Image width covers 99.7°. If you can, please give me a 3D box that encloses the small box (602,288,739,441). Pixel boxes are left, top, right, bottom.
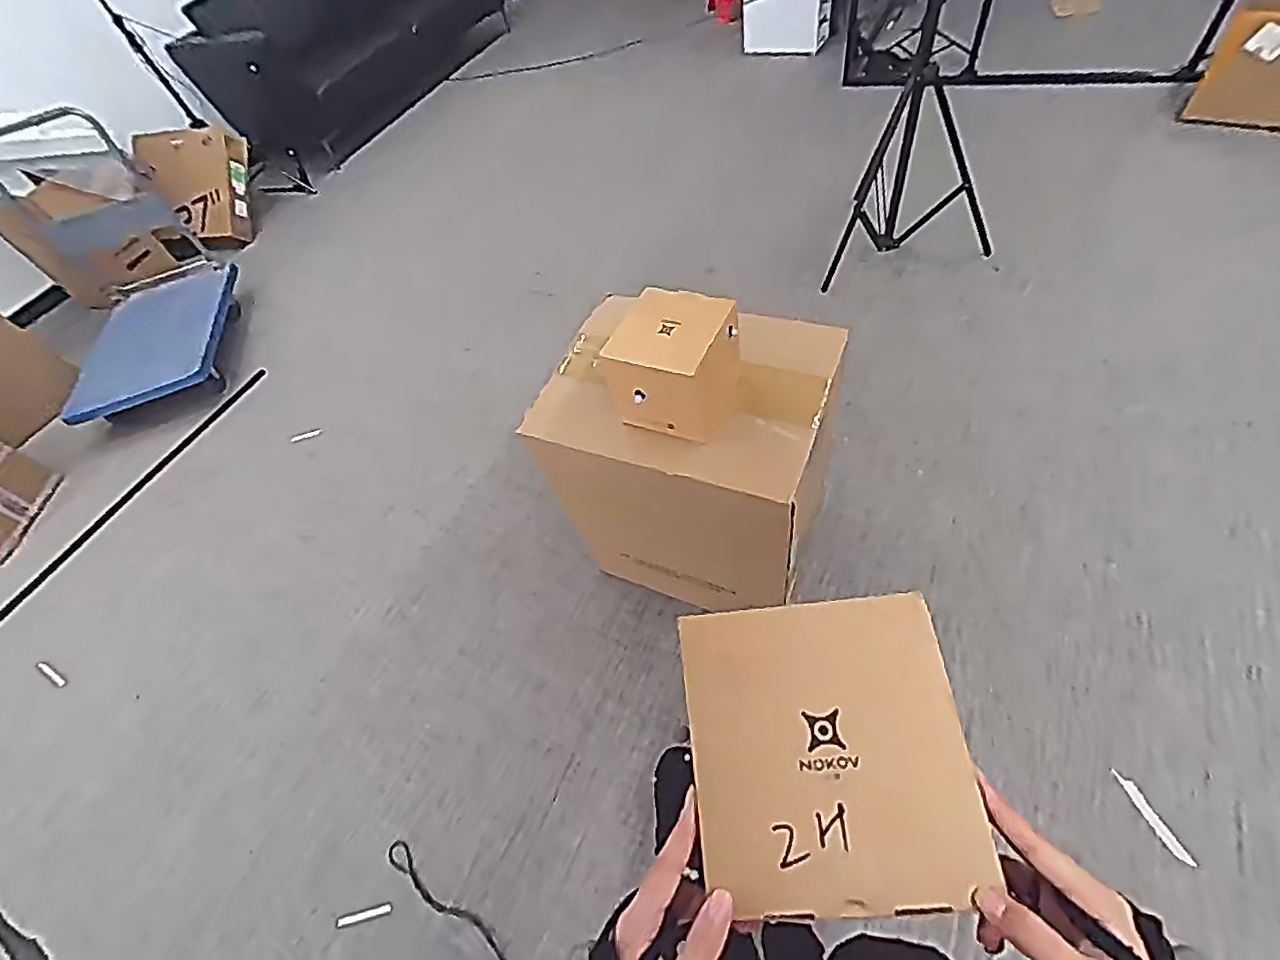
[{"bbox_3d":[0.062,-0.192,0.913,0.168,0.176,0.179,17,60,23],"label":"small box"}]

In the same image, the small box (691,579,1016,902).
[{"bbox_3d":[0.130,0.184,0.405,0.168,0.176,0.179,-7,66,7],"label":"small box"}]
